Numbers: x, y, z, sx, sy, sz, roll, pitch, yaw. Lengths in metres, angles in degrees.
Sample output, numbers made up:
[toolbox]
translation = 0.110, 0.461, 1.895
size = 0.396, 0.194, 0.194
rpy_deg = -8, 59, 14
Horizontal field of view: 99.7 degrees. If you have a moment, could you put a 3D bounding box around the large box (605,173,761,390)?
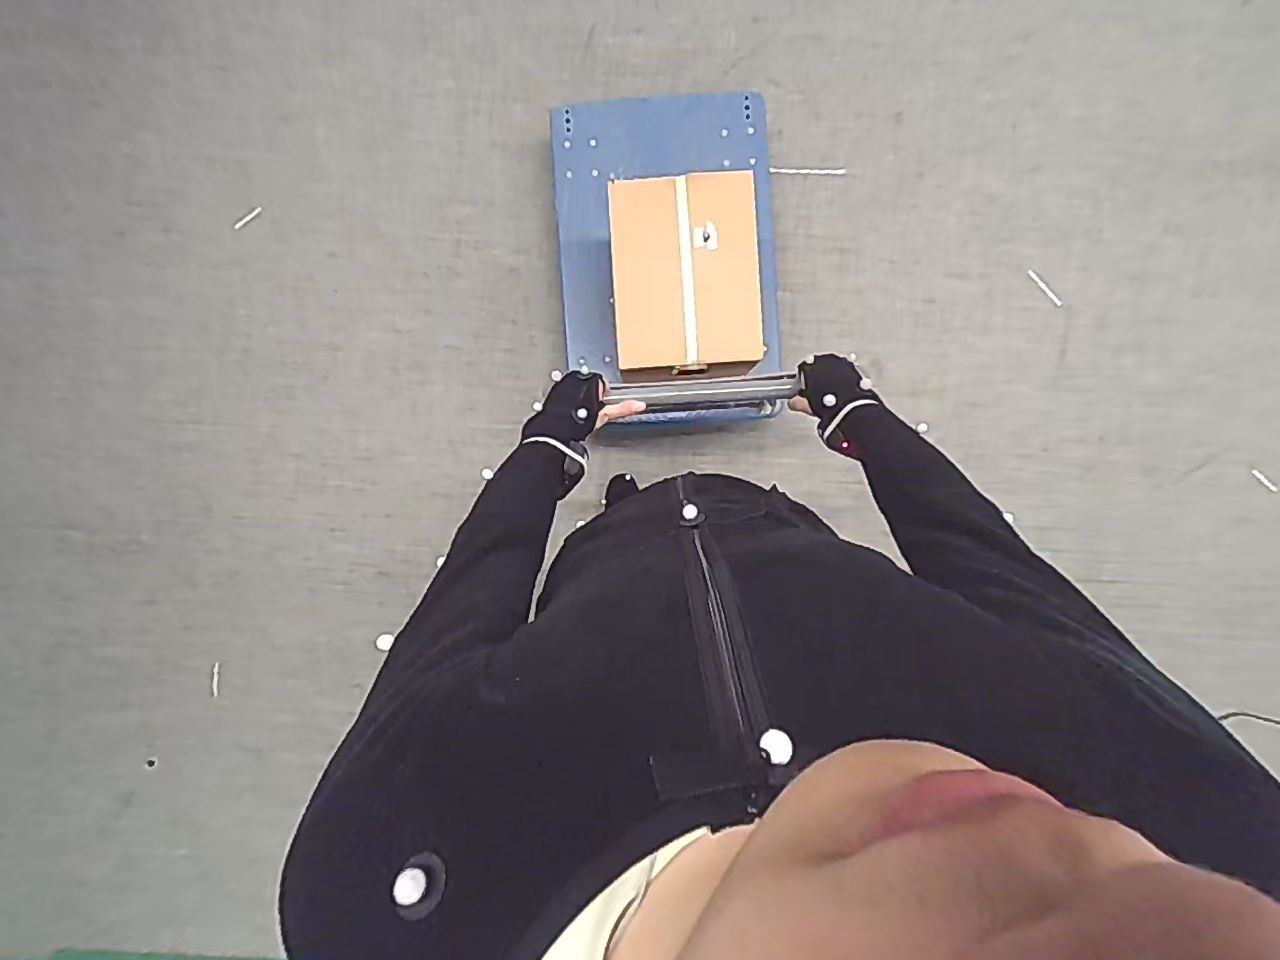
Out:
[large box]
translation = 0.097, -0.450, 1.311
size = 0.320, 0.320, 0.408
rpy_deg = -4, 91, 1
